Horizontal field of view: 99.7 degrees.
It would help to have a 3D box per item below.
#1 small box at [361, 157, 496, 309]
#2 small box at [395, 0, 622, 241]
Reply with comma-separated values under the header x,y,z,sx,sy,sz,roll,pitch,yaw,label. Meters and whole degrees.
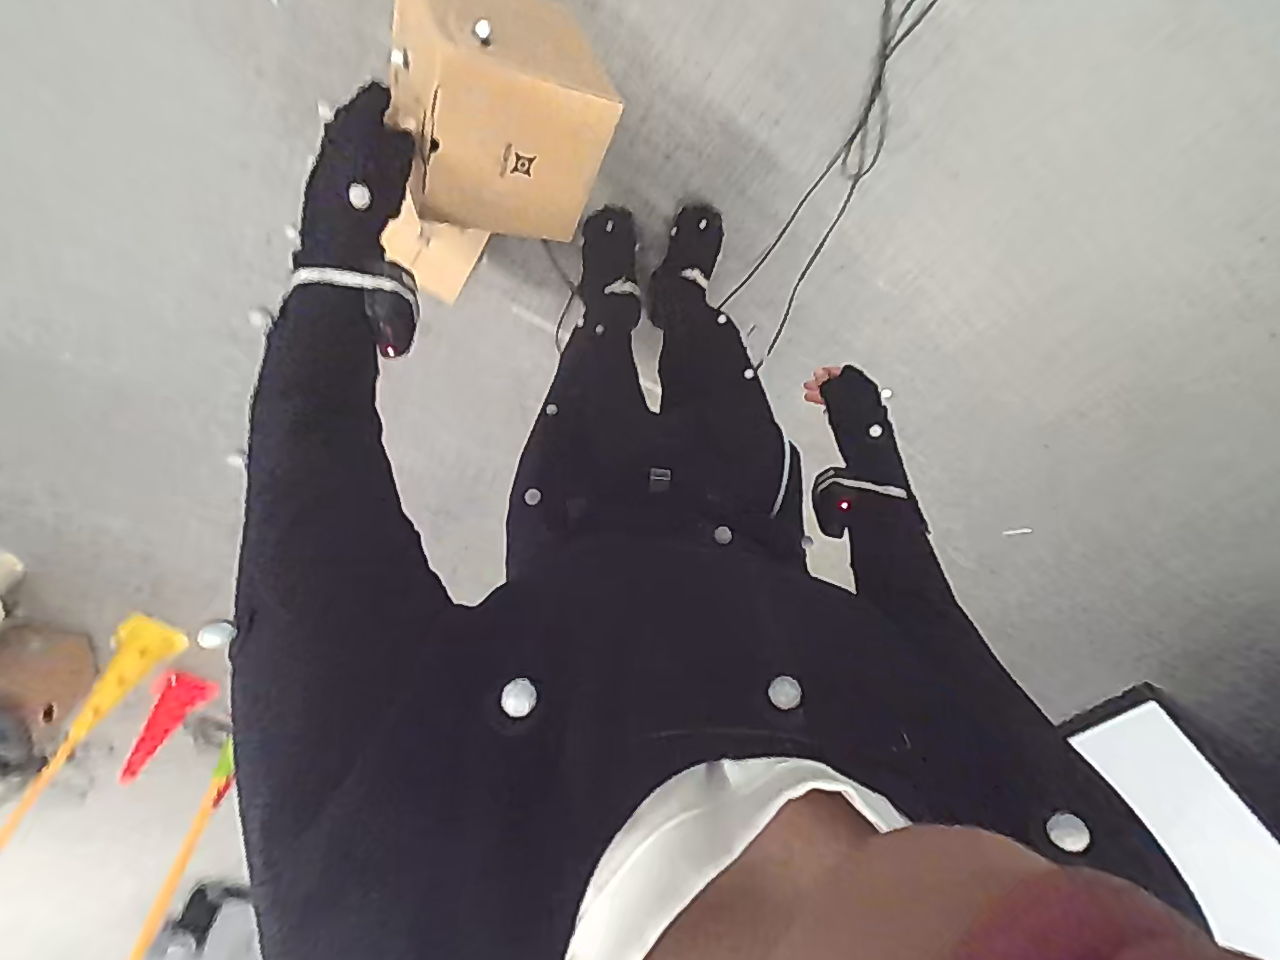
x,y,z,sx,sy,sz,roll,pitch,yaw,label
-0.345,-0.438,0.932,0.168,0.176,0.179,28,122,-24,small box
-0.147,-0.384,0.572,0.179,0.176,0.168,-9,155,-29,small box
